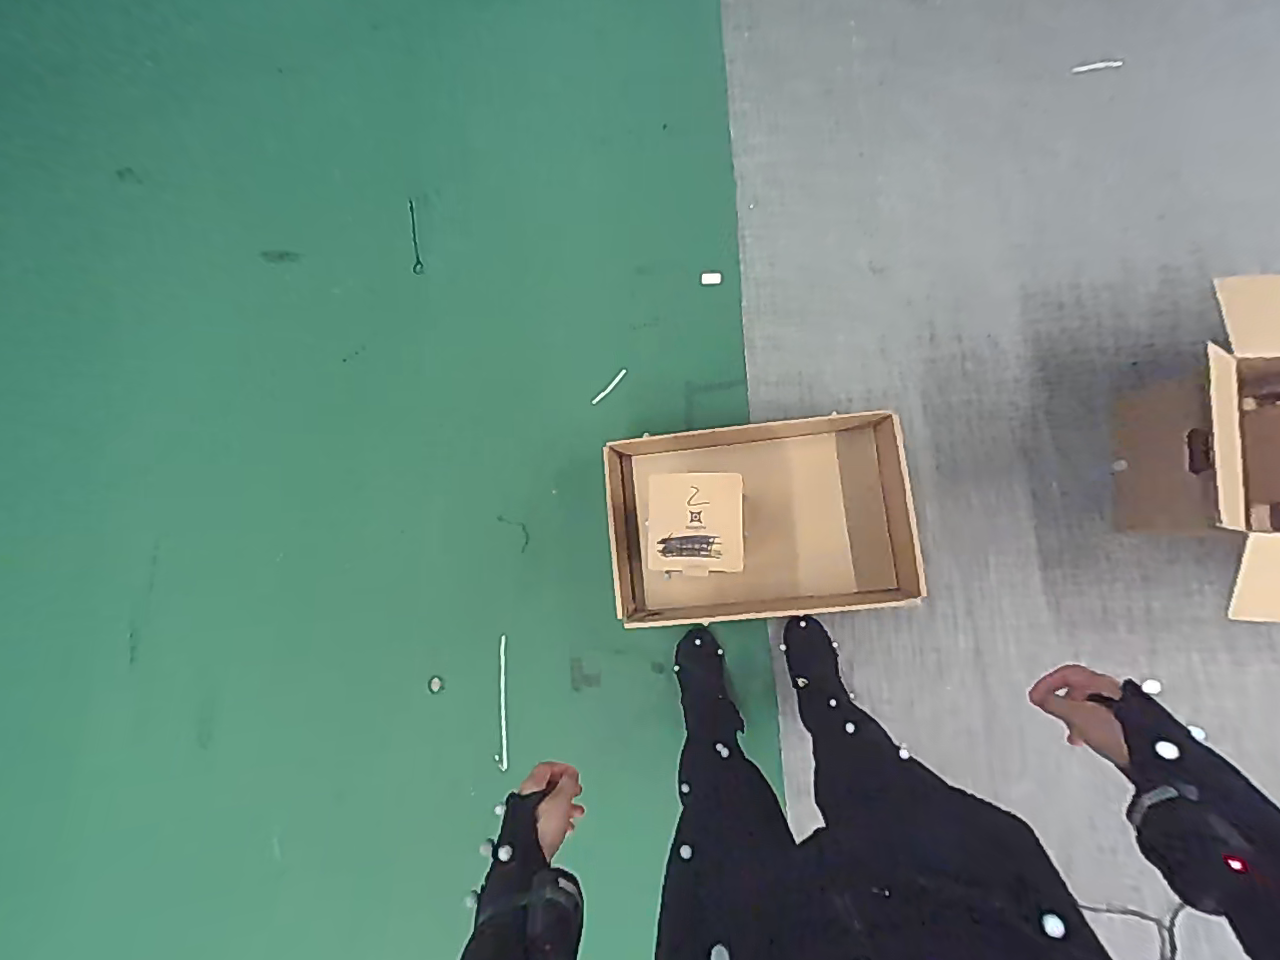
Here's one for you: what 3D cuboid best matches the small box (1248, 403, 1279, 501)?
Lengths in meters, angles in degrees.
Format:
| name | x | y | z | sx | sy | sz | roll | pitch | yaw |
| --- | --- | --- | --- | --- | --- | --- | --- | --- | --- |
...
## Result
| name | x | y | z | sx | sy | sz | roll | pitch | yaw |
| --- | --- | --- | --- | --- | --- | --- | --- | --- | --- |
| small box | 1.213 | -0.063 | 0.920 | 0.168 | 0.176 | 0.179 | -6 | 82 | 10 |

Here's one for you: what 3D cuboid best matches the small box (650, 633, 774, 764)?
| name | x | y | z | sx | sy | sz | roll | pitch | yaw |
| --- | --- | --- | --- | --- | --- | --- | --- | --- | --- |
| small box | 0.161 | 0.465 | 1.166 | 0.176 | 0.168 | 0.179 | 49 | 66 | -18 |

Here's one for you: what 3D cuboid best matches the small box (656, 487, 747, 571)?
| name | x | y | z | sx | sy | sz | roll | pitch | yaw |
| --- | --- | --- | --- | --- | --- | --- | --- | --- | --- |
| small box | 0.135 | 0.113 | 1.183 | 0.179 | 0.176 | 0.168 | -5 | 81 | 6 |
